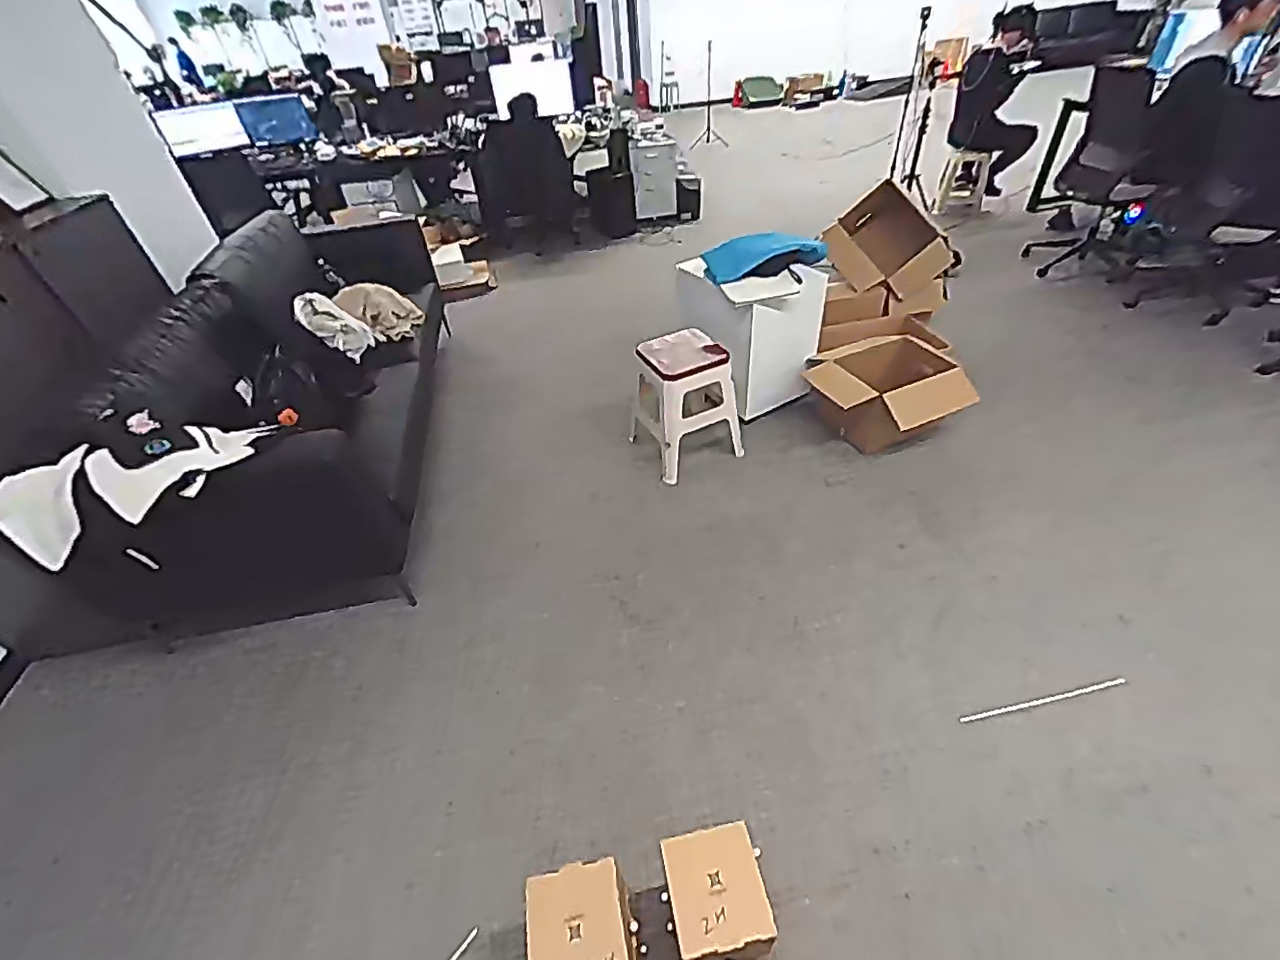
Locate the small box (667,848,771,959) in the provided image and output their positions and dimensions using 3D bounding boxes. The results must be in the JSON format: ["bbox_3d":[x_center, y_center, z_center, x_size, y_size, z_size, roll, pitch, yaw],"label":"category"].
[{"bbox_3d":[0.157,0.894,1.107,0.168,0.176,0.179,-11,41,-5],"label":"small box"}]
